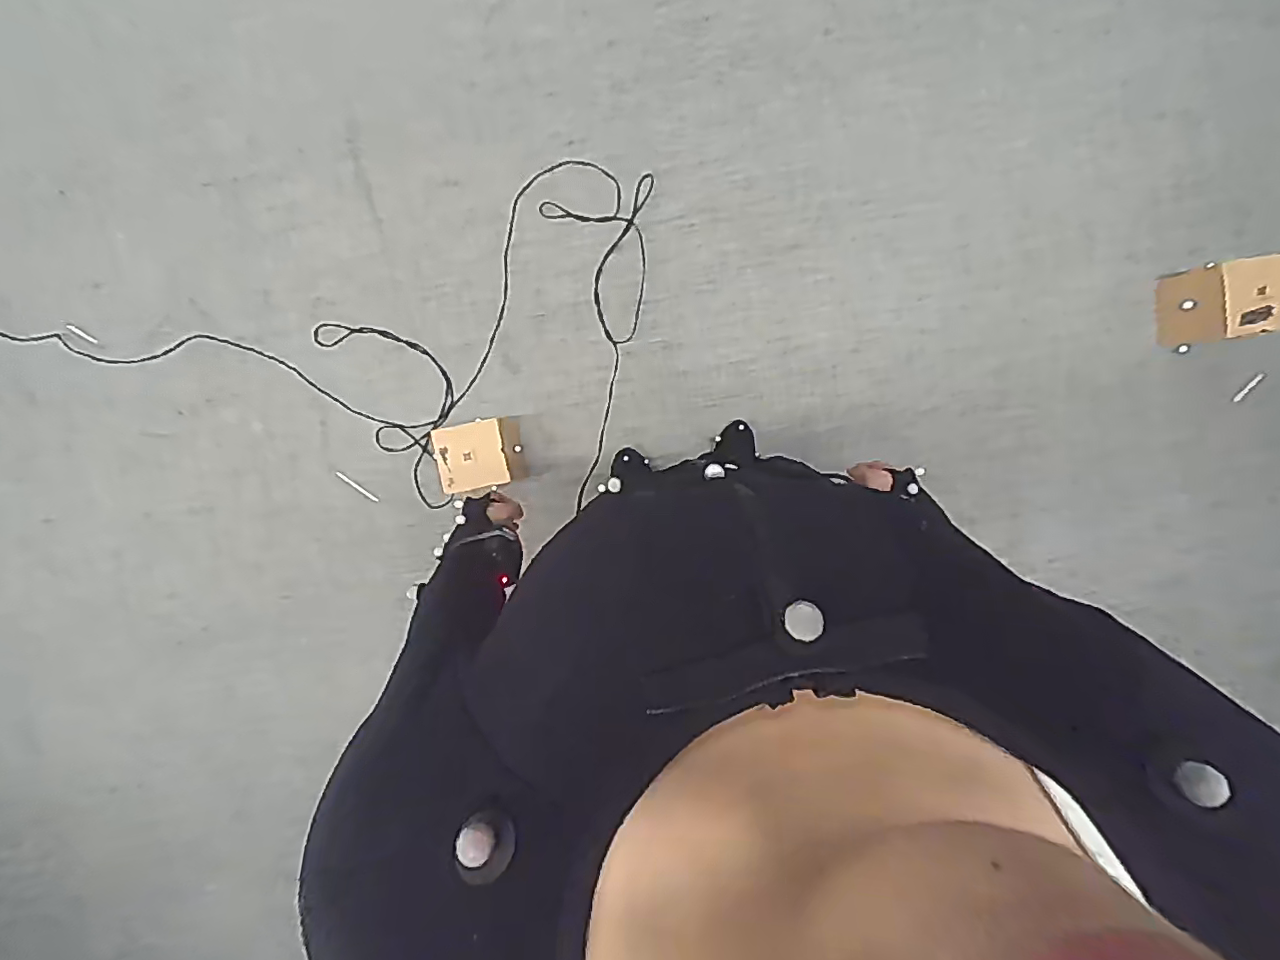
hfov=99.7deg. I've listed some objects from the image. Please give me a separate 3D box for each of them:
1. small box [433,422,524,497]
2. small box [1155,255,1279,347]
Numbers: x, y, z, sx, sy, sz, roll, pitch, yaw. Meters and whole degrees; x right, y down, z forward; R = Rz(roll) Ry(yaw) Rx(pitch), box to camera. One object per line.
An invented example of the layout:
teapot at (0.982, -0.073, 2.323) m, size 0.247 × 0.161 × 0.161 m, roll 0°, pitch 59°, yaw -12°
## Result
small box at (-0.412, -0.058, 1.420) m, size 0.179 × 0.176 × 0.168 m, roll -11°, pitch 94°, yaw 2°
small box at (1.425, -0.431, 1.329) m, size 0.168 × 0.176 × 0.179 m, roll -7°, pitch 94°, yaw 3°
